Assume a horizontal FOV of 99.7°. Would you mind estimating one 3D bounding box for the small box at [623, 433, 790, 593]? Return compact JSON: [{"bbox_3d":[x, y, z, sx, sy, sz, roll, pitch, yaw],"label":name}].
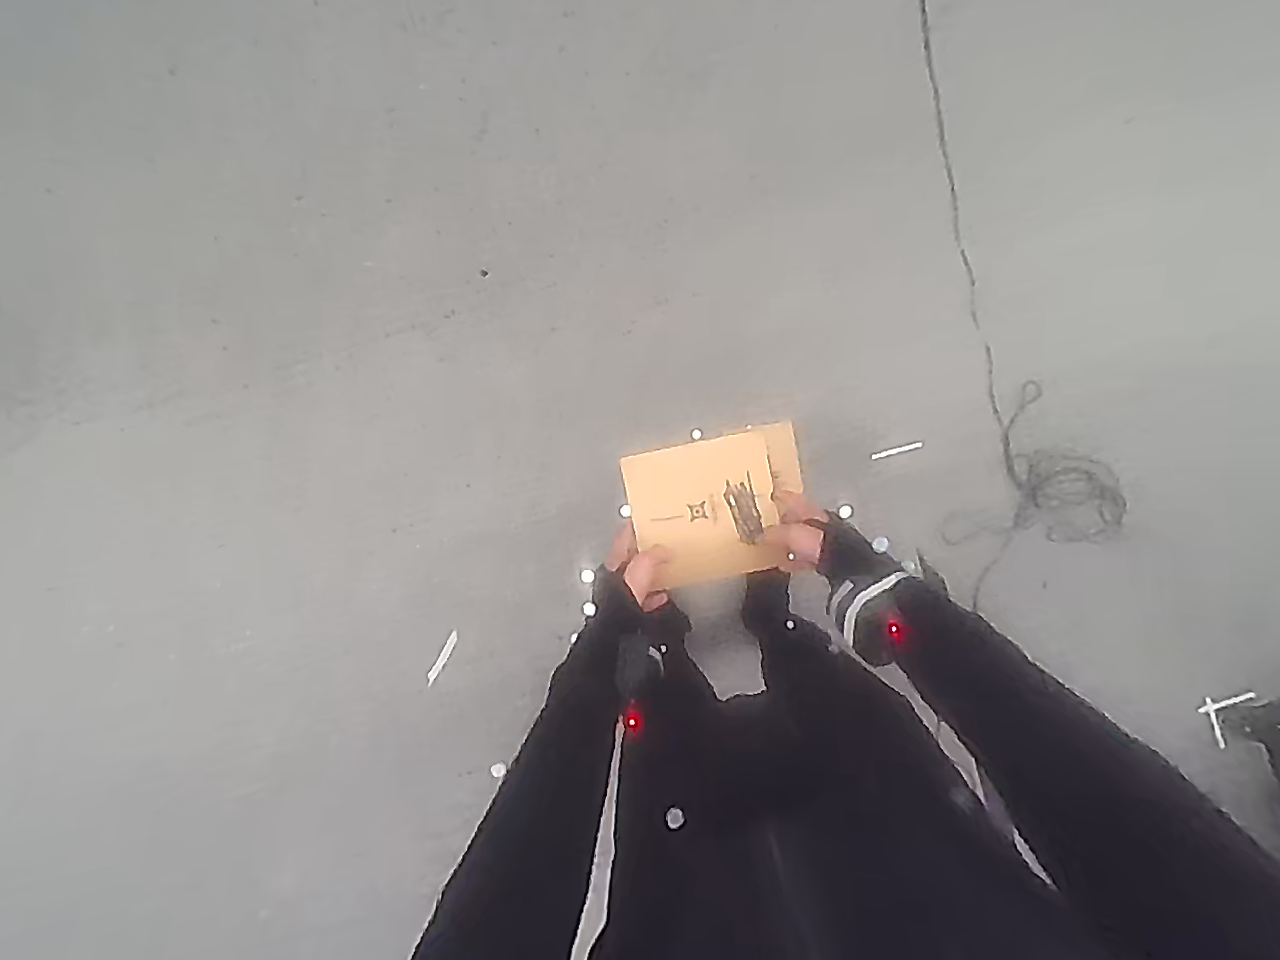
[{"bbox_3d":[0.078,0.033,0.713,0.179,0.176,0.168,-12,93,1],"label":"small box"}]
